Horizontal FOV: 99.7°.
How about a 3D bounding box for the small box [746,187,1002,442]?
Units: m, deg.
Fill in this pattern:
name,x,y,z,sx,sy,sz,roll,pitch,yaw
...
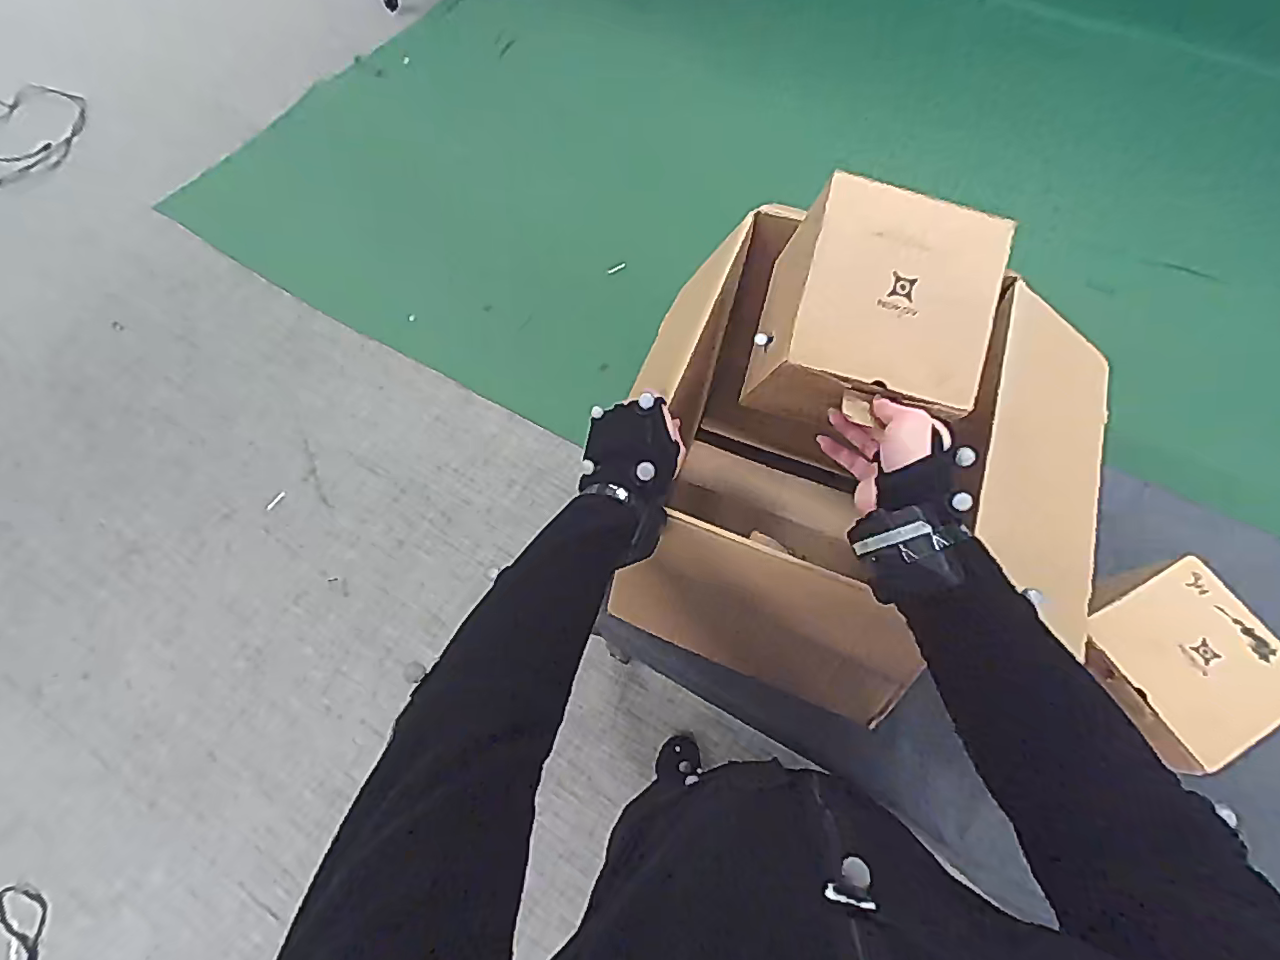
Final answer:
name,x,y,z,sx,sy,sz,roll,pitch,yaw
small box,0.218,-0.149,0.550,0.168,0.176,0.179,15,84,-2
